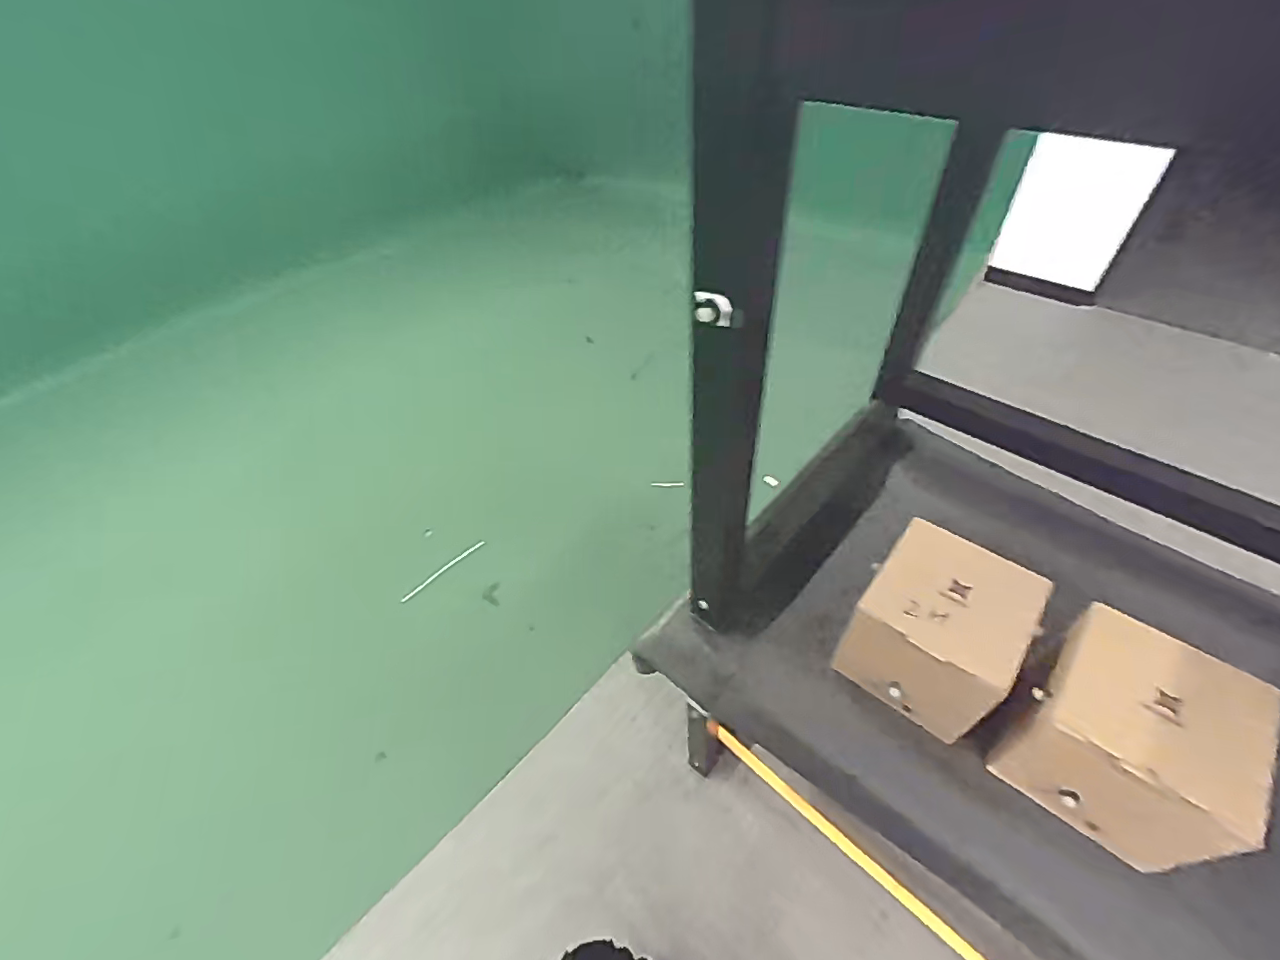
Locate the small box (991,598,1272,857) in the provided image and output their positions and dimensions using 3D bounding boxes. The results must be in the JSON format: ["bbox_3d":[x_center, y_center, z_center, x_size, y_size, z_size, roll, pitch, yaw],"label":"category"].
[{"bbox_3d":[0.533,0.276,0.608,0.168,0.176,0.179,31,57,29],"label":"small box"}]

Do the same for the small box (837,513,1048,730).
[{"bbox_3d":[0.378,0.183,0.702,0.168,0.176,0.179,31,57,29],"label":"small box"}]
